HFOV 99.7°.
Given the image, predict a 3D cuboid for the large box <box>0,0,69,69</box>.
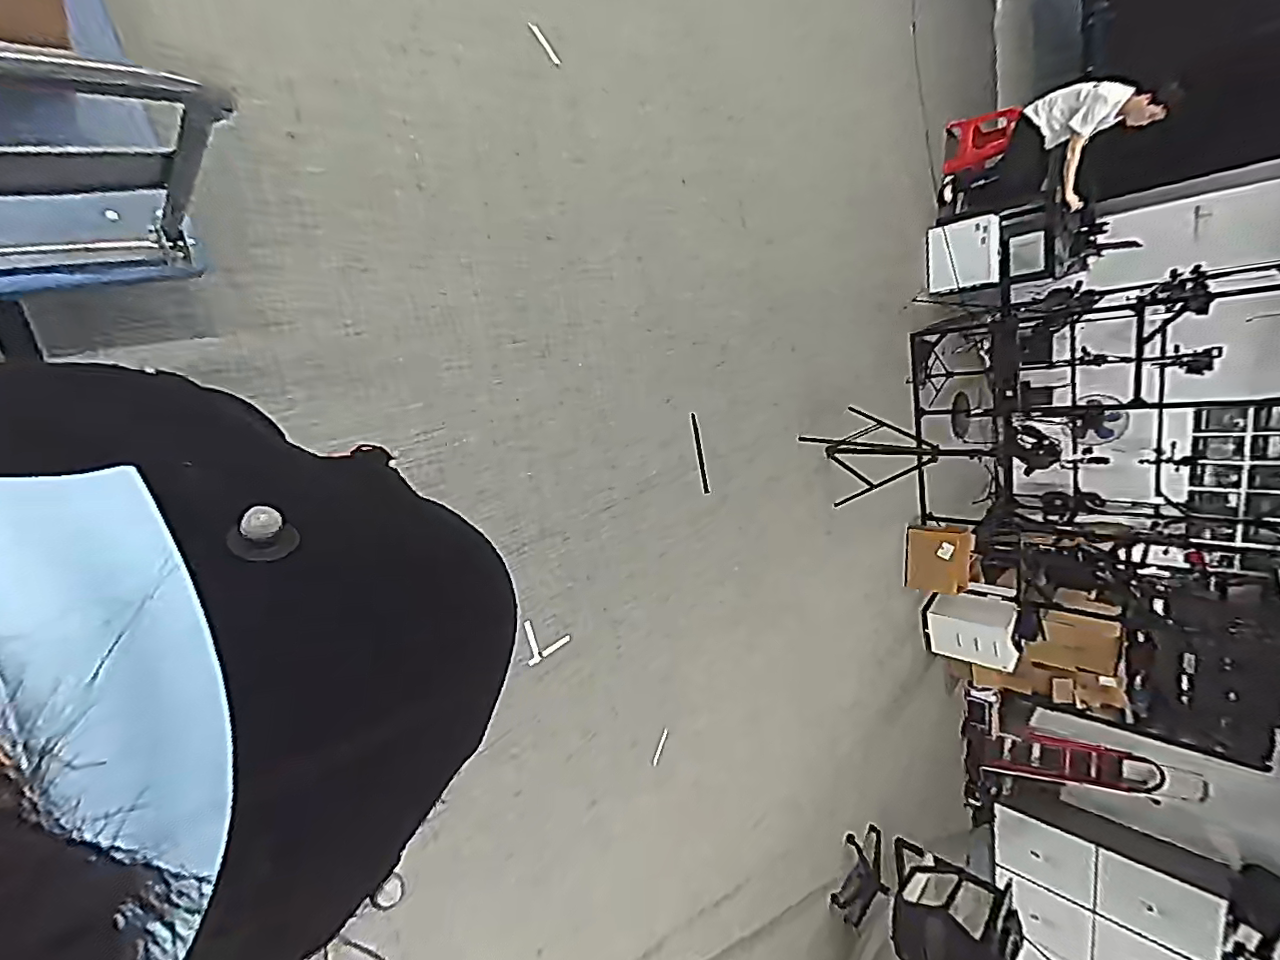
[{"bbox_3d":[-1.020,-0.746,0.630,0.408,0.320,0.320,-25,109,-39],"label":"large box"}]
